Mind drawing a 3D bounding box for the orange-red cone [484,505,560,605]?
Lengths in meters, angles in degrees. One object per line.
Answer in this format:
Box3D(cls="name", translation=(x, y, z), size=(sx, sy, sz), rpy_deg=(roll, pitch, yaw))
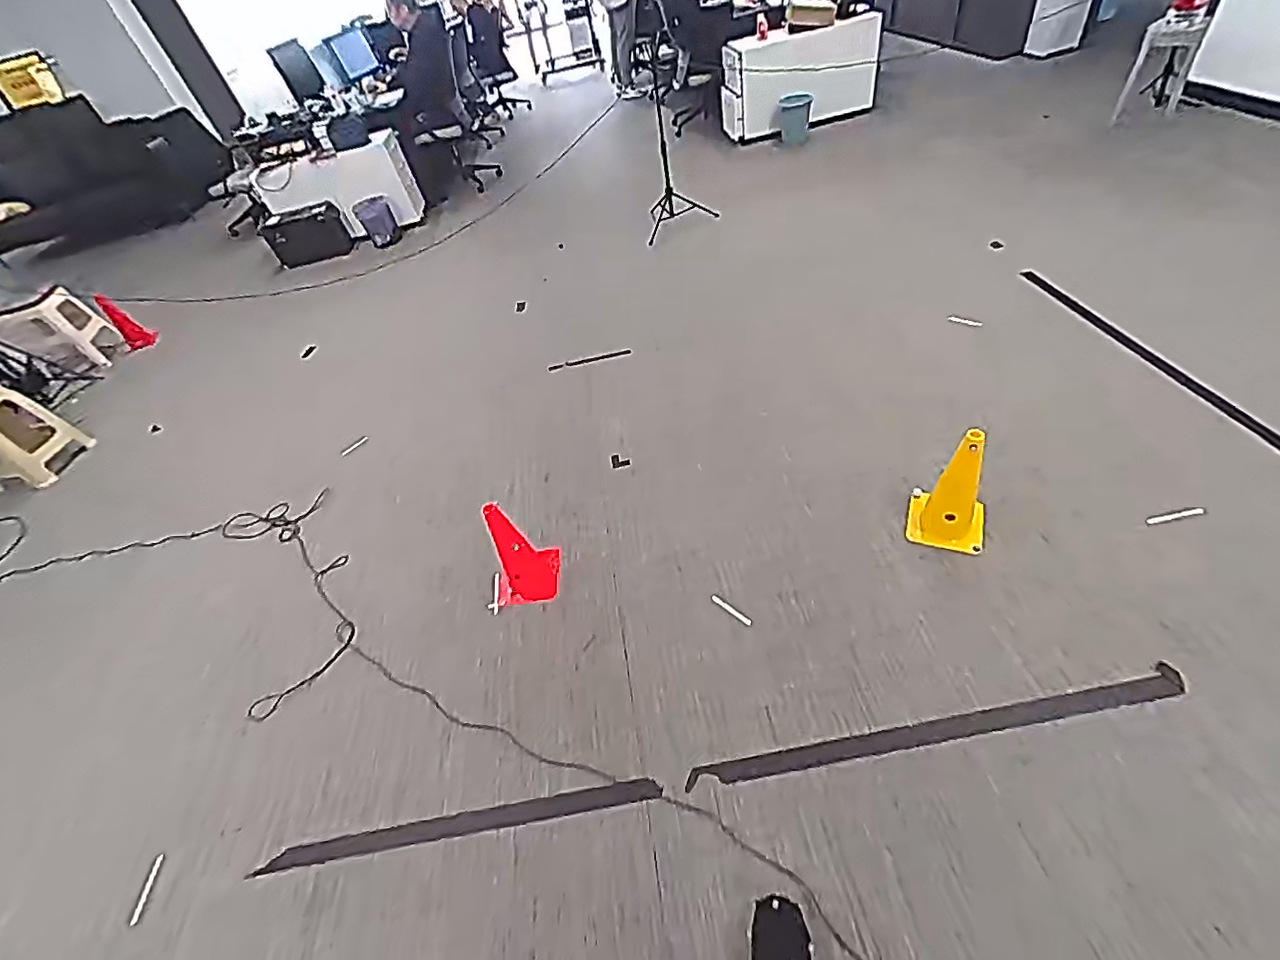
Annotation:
Box3D(cls="orange-red cone", translation=(-0.390, 0.201, 1.646), size=(0.199, 0.360, 0.198), rpy_deg=(-7, 47, 6))
